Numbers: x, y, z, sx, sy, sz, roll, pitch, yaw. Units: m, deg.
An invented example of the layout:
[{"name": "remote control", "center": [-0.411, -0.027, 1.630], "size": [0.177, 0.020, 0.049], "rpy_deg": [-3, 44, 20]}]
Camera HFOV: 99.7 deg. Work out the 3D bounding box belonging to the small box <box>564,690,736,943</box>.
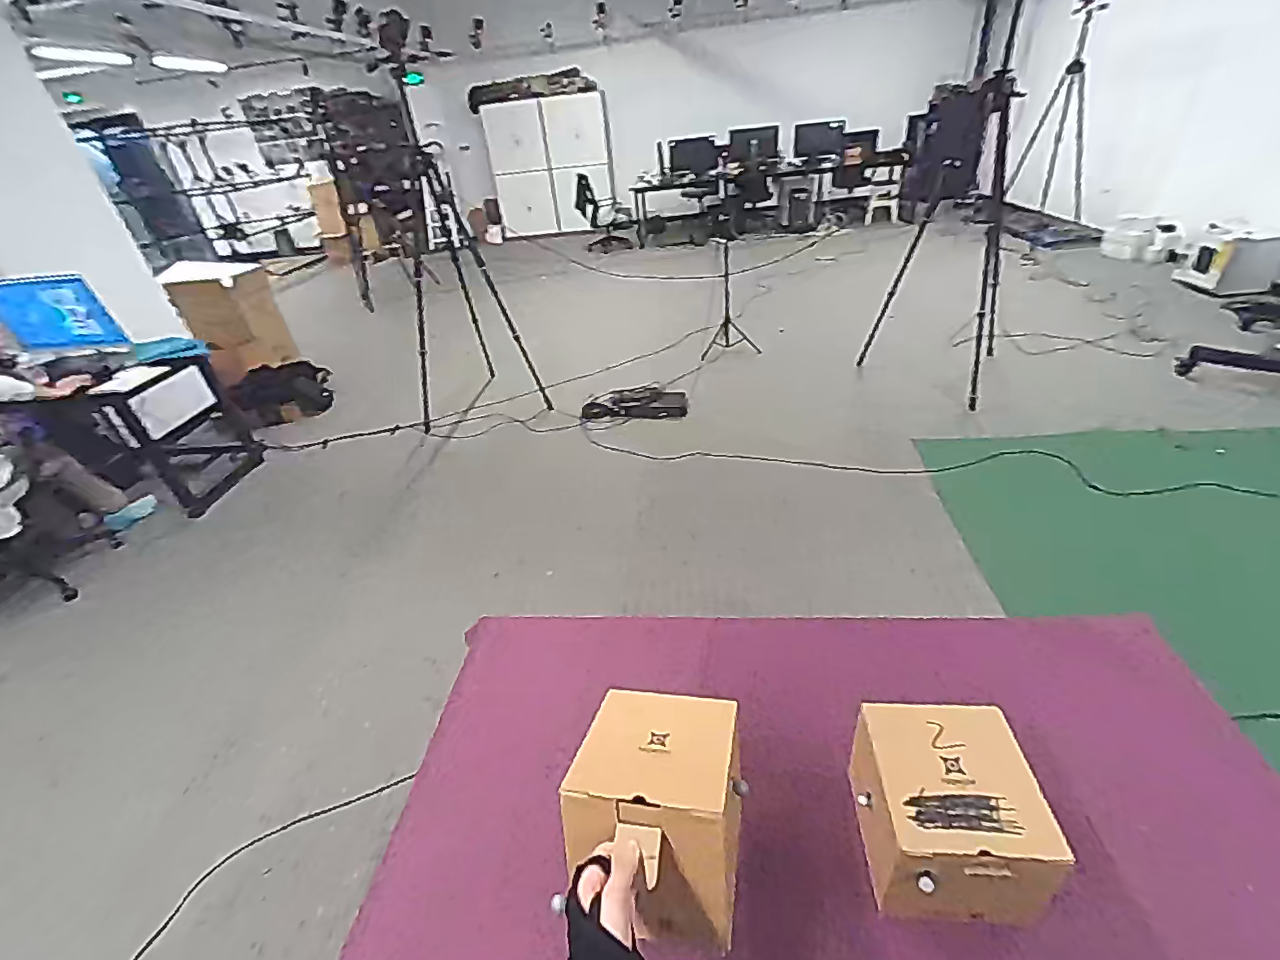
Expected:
[{"name": "small box", "center": [0.023, 0.377, 0.634], "size": [0.168, 0.176, 0.179], "rpy_deg": [-1, 13, 14]}]
